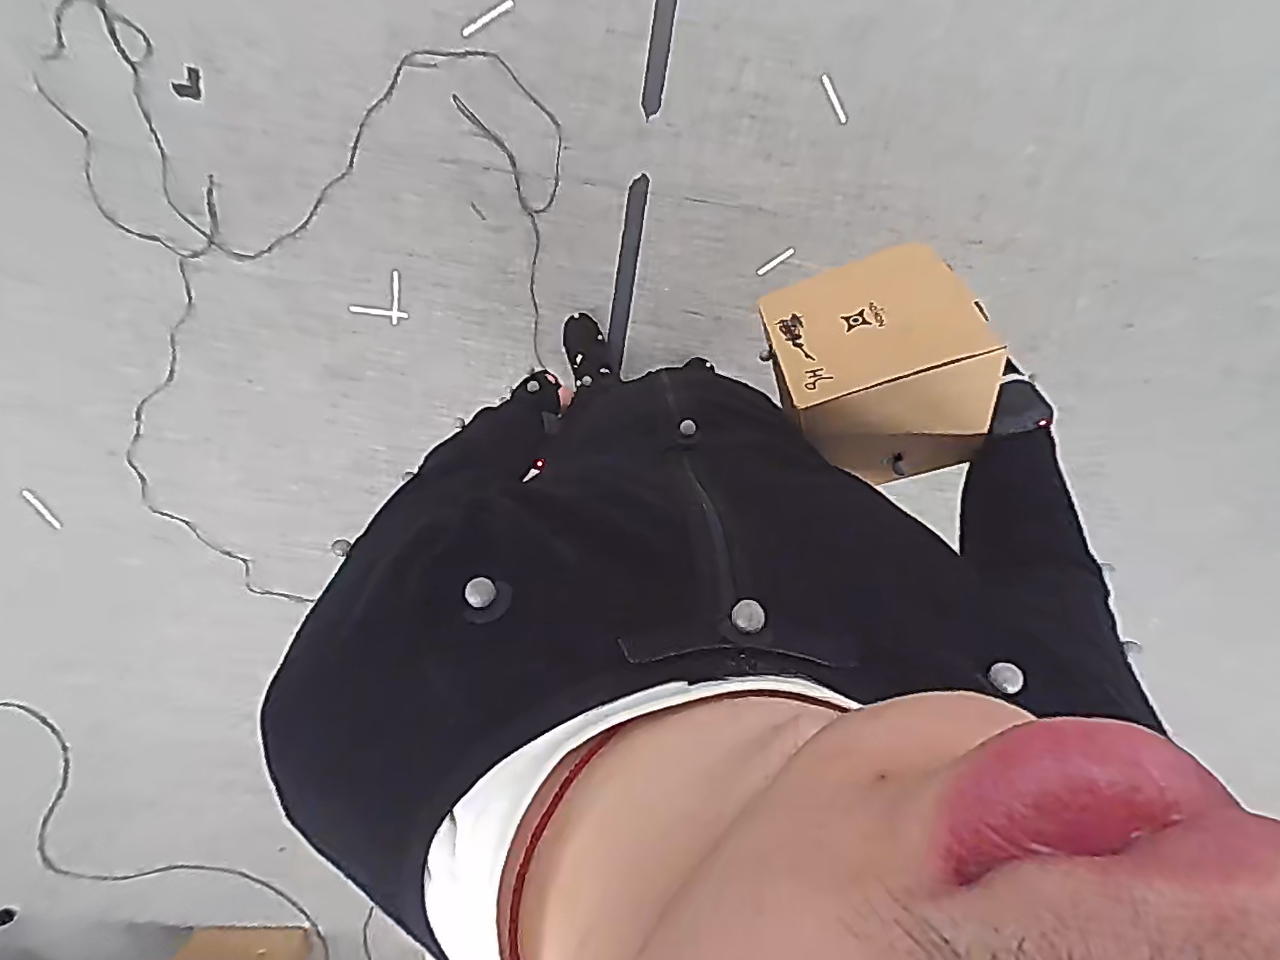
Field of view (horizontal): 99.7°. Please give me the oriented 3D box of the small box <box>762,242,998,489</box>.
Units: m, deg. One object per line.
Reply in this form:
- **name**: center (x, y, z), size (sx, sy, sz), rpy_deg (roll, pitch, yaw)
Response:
- **small box**: center (0.246, -0.114, 0.587), size (0.179, 0.168, 0.176), rpy_deg (-16, 143, 13)
